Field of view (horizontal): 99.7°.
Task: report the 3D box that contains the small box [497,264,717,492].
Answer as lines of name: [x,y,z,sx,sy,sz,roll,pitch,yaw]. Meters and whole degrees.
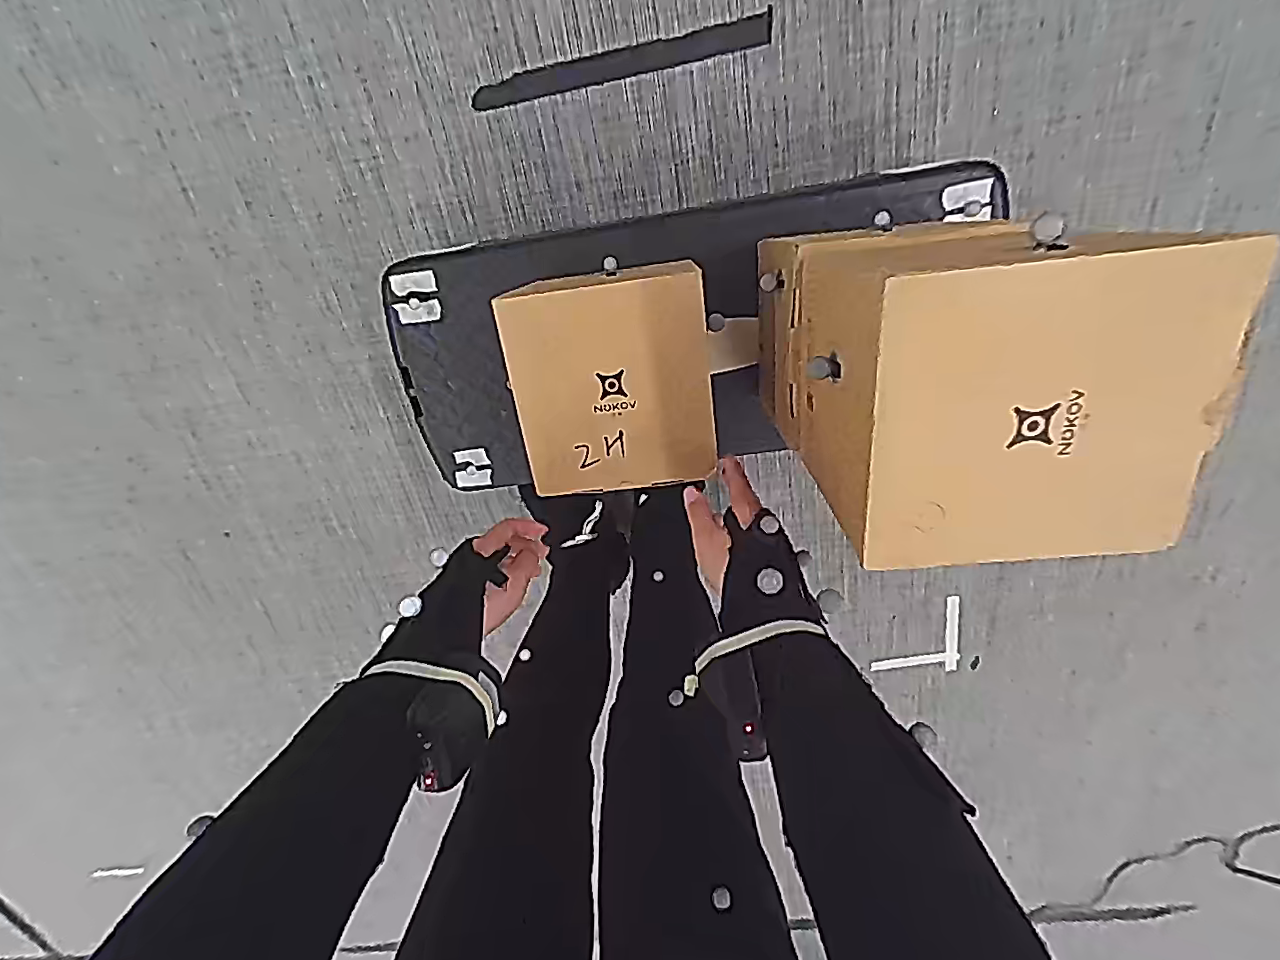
small box: [-0.020,-0.107,0.520,0.168,0.176,0.179,-6,114,5]

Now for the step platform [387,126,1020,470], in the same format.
step platform: [0.065,-0.206,0.663,0.684,0.204,0.286,-8,114,6]

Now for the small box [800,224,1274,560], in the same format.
small box: [0.208,-0.066,0.352,0.179,0.176,0.168,-5,115,4]
